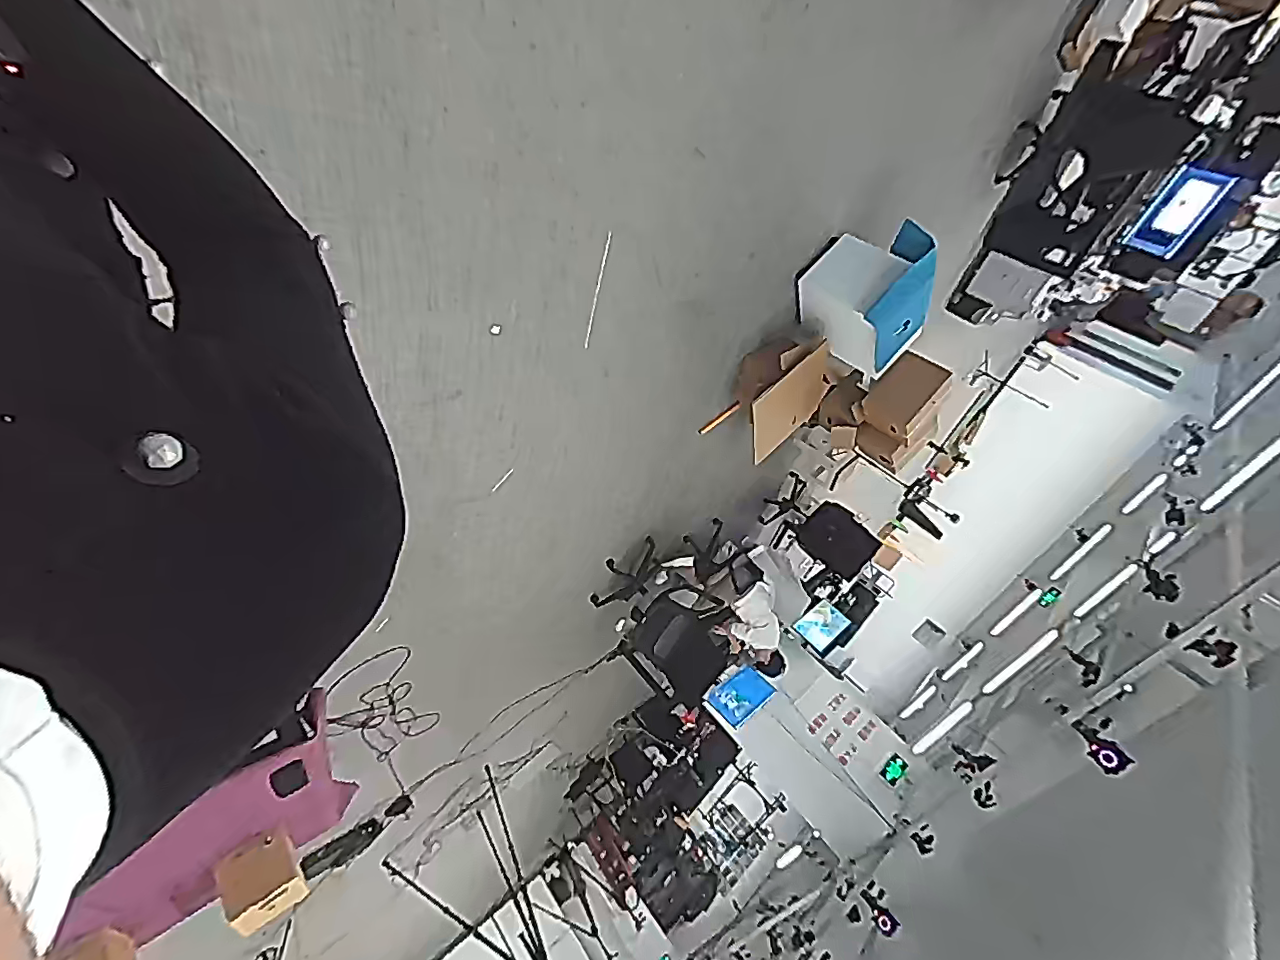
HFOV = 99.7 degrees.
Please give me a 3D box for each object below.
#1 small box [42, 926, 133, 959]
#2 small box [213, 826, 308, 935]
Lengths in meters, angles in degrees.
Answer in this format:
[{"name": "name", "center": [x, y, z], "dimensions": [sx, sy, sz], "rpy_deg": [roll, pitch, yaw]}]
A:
[{"name": "small box", "center": [-1.338, 1.219, 1.289], "dimensions": [0.168, 0.176, 0.179], "rpy_deg": [-24, 143, -38]}, {"name": "small box", "center": [-1.074, 1.125, 1.532], "dimensions": [0.168, 0.176, 0.179], "rpy_deg": [-23, 144, -37]}]
